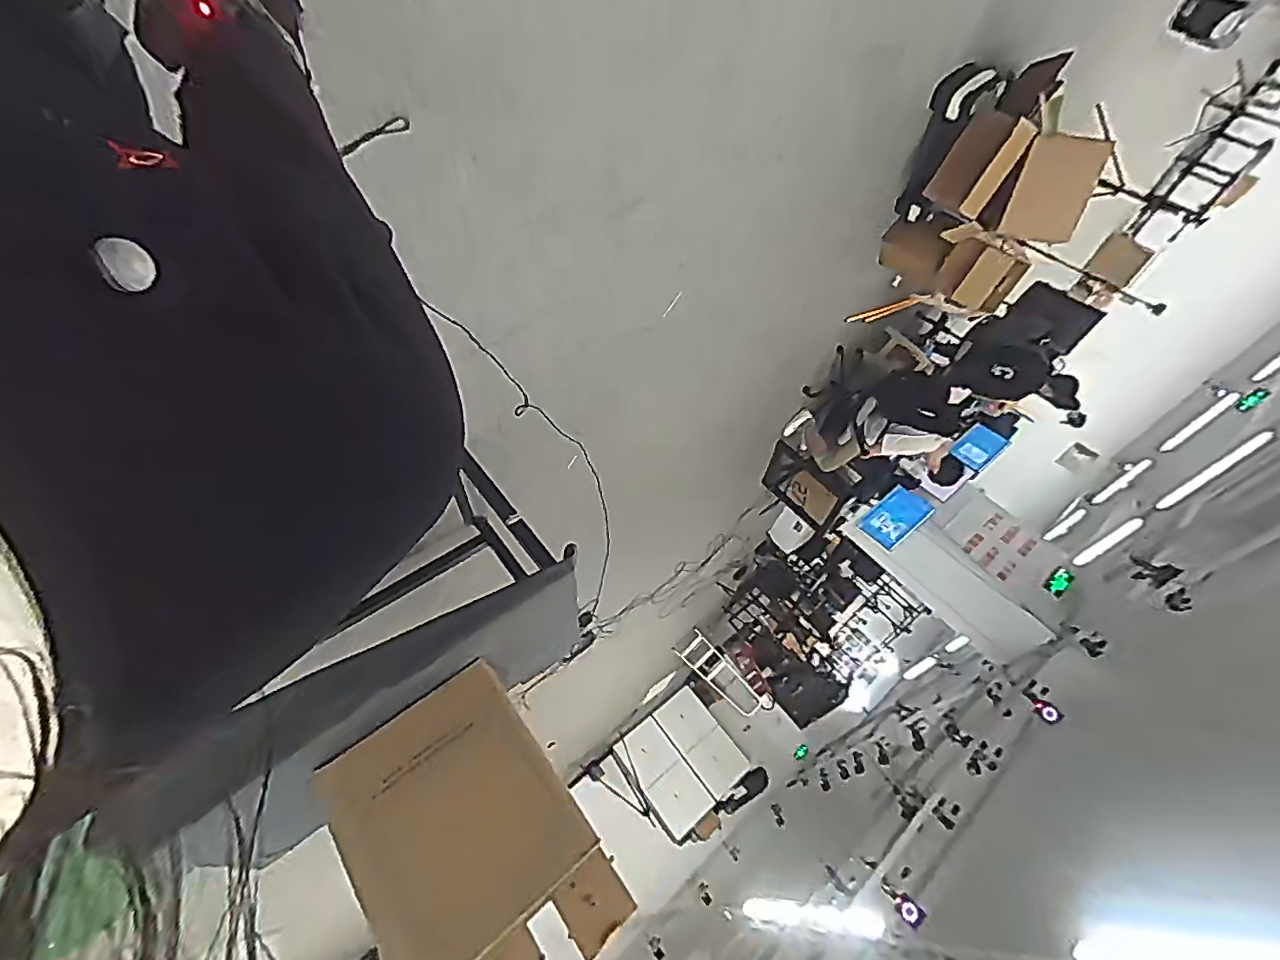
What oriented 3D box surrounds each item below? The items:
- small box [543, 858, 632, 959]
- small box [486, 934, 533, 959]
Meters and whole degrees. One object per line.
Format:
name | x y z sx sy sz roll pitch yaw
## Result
small box | -0.136 1.121 1.400 0.168 0.176 0.179 -32 149 -25
small box | -0.329 1.238 1.295 0.168 0.176 0.179 -30 150 -23
